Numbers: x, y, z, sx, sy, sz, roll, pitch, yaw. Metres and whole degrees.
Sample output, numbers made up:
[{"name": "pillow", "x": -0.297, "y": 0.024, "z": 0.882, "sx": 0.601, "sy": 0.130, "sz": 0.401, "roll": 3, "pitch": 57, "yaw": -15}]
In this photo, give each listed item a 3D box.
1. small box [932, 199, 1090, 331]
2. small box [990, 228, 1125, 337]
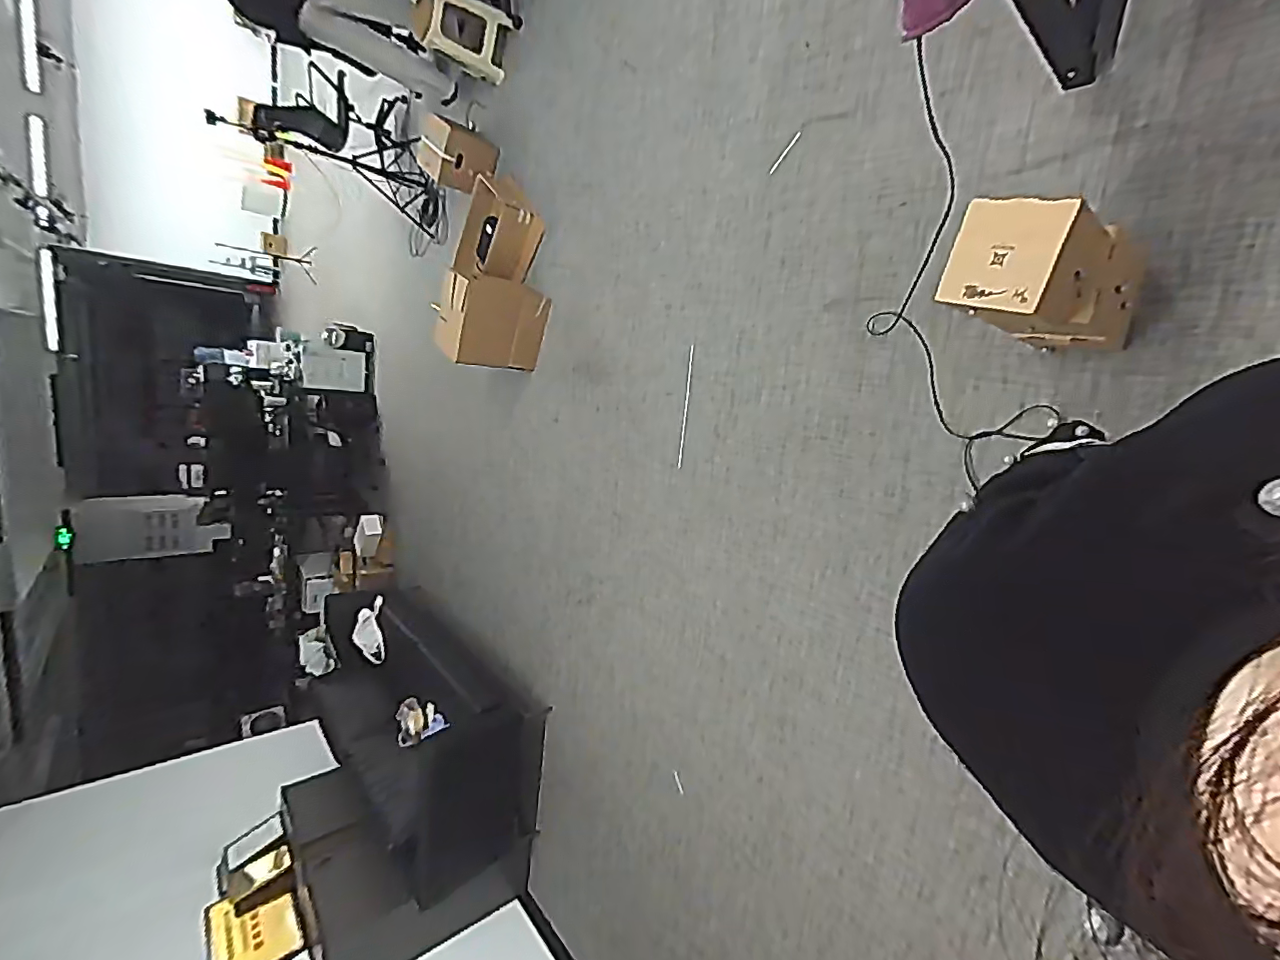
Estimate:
[{"name": "small box", "x": 0.665, "y": -0.380, "z": 0.965, "sx": 0.168, "sy": 0.176, "sz": 0.179, "roll": 32, "pitch": 114, "yaw": 44}, {"name": "small box", "x": 0.803, "y": -0.378, "z": 1.058, "sx": 0.179, "sy": 0.176, "sz": 0.168, "roll": 21, "pitch": 108, "yaw": 46}]
